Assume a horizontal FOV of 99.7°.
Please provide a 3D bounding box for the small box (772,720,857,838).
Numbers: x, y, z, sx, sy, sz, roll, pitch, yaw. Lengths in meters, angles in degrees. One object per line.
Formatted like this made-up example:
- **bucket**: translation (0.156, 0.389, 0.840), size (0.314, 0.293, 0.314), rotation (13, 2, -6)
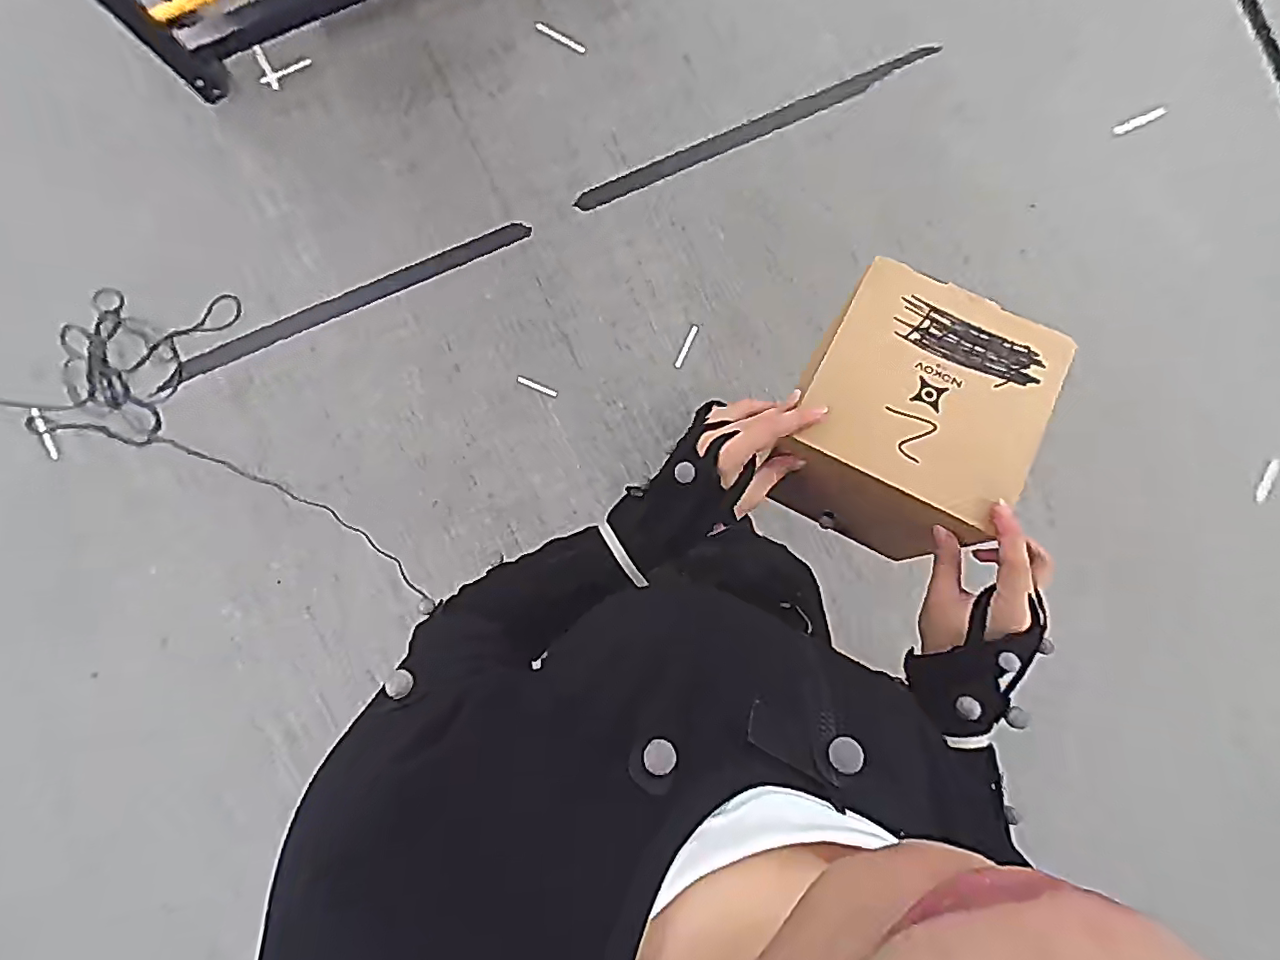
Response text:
- **small box**: translation (0.442, 0.710, 1.311), size (0.168, 0.176, 0.179), rotation (-23, 91, -2)

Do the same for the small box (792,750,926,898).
- **small box**: translation (0.454, 0.716, 1.149), size (0.179, 0.176, 0.168), rotation (-30, 91, -1)
